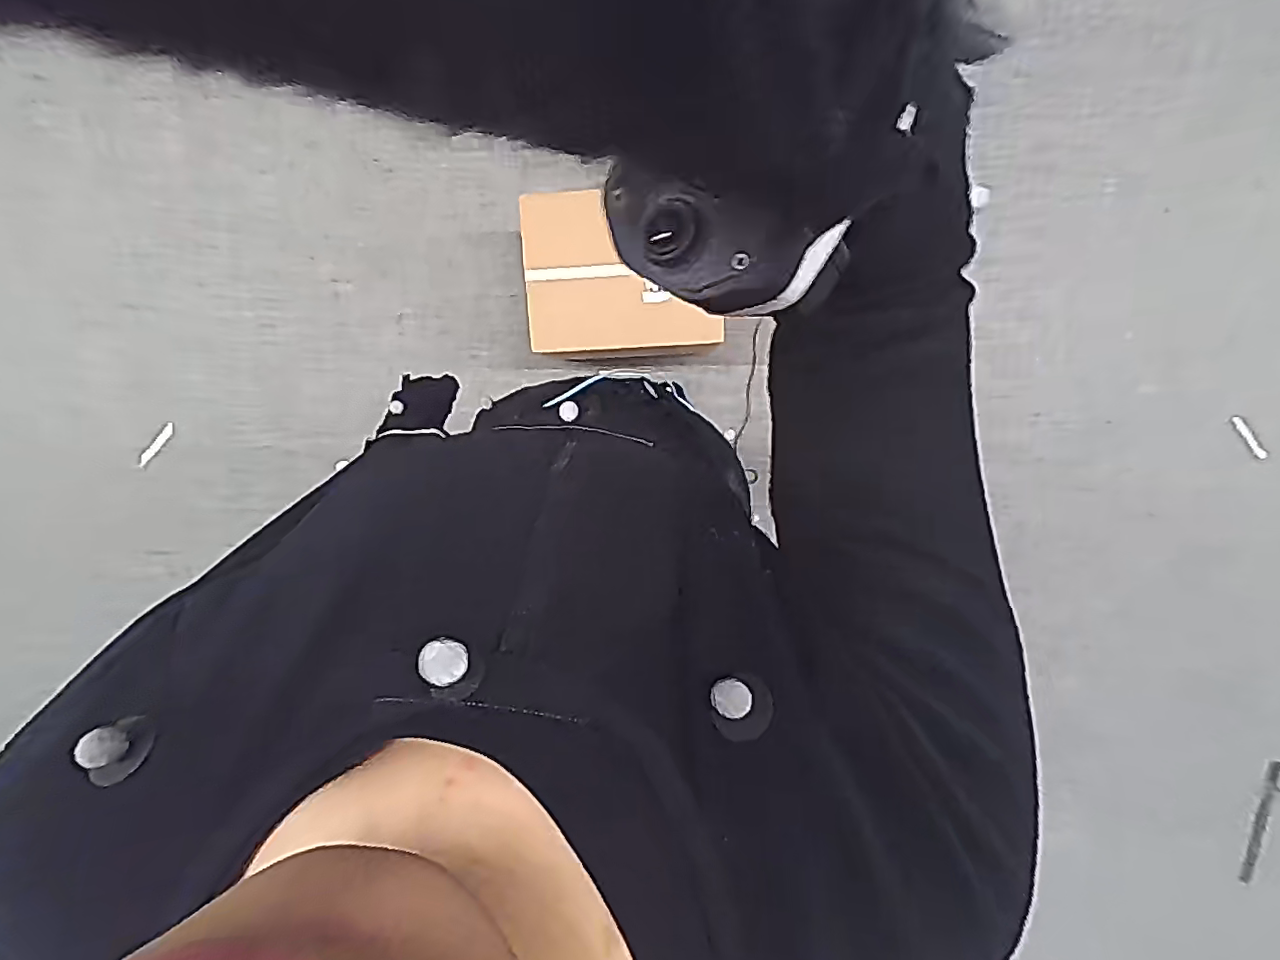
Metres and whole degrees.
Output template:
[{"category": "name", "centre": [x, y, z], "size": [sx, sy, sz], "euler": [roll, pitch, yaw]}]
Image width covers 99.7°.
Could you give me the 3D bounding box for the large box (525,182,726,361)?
[{"category": "large box", "centre": [-0.025, -0.456, 1.258], "size": [0.408, 0.320, 0.320], "euler": [-3, 100, 2]}]
